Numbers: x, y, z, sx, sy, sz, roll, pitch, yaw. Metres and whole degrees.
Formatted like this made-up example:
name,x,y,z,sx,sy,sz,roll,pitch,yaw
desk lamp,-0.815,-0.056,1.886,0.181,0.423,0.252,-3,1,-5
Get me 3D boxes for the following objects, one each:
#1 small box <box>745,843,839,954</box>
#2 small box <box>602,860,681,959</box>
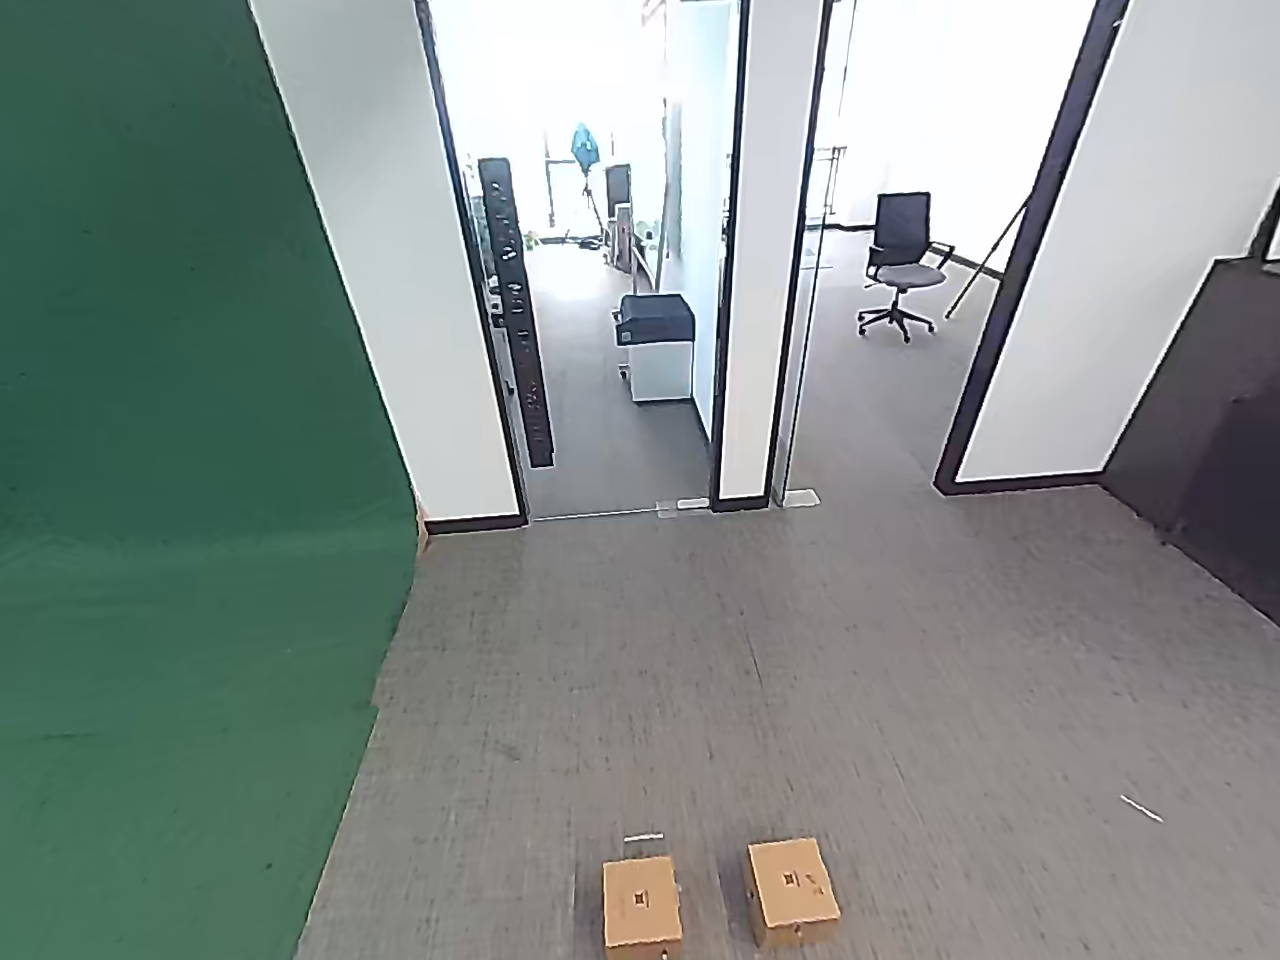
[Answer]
name,x,y,z,sx,sy,sz,roll,pitch,yaw
small box,0.358,1.017,1.313,0.179,0.176,0.168,-3,35,-3
small box,0.001,1.042,1.294,0.179,0.176,0.168,-4,34,-2
